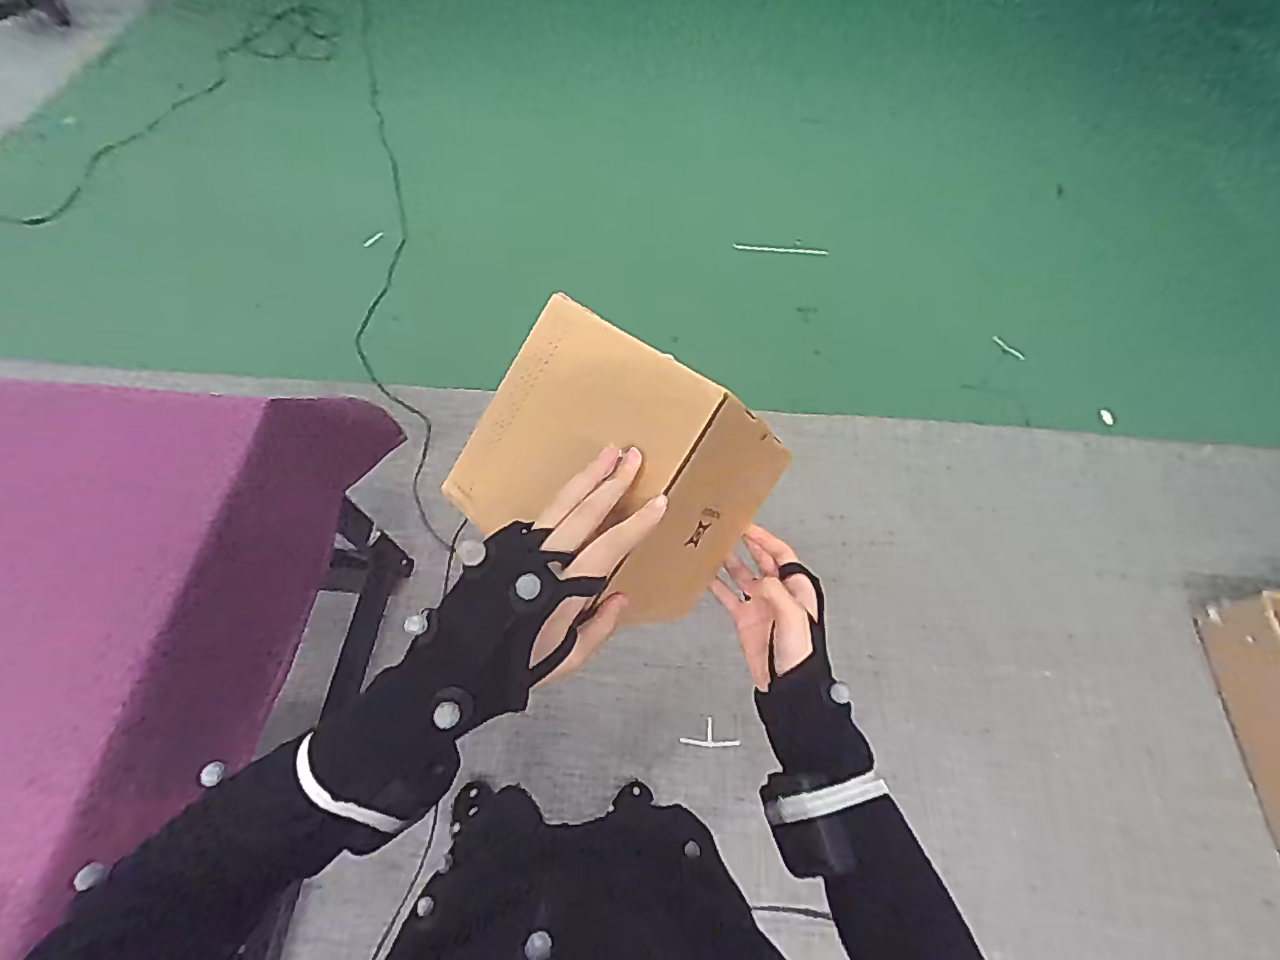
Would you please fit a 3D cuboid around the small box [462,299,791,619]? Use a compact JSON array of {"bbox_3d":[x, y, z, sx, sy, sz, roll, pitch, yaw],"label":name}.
[{"bbox_3d":[-0.014,-0.010,0.437,0.176,0.168,0.179,38,99,31],"label":"small box"}]
